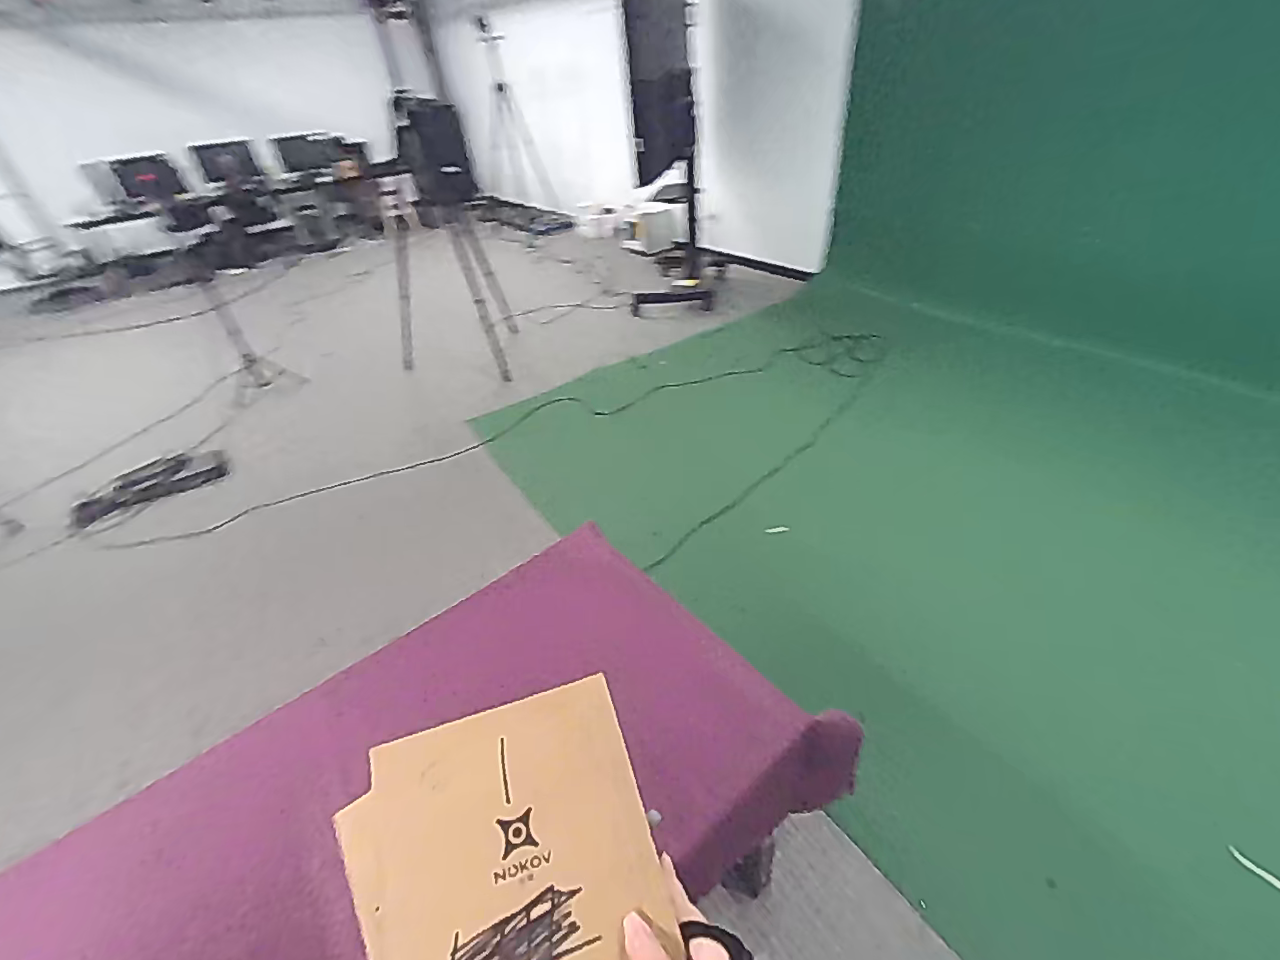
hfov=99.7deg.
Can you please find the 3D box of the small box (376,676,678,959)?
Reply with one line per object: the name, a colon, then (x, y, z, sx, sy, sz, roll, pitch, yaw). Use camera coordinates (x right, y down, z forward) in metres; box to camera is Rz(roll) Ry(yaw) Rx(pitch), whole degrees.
small box: (-0.082, 0.275, 0.407, 0.168, 0.176, 0.179, -13, 57, -14)
